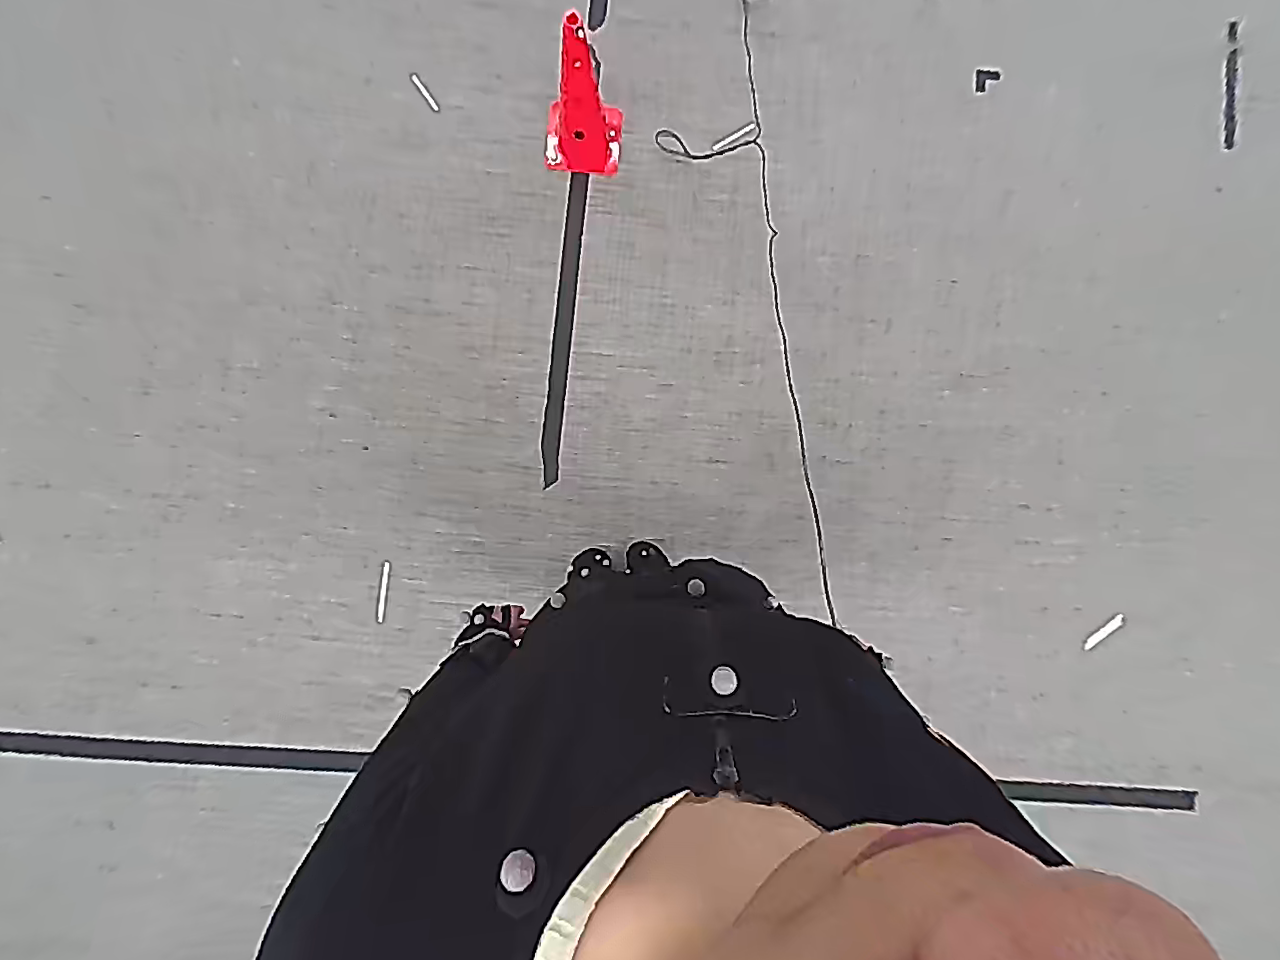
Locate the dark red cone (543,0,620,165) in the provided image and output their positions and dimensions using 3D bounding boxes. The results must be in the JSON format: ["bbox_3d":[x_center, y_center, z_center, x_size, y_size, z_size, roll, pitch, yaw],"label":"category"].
[{"bbox_3d":[-0.147,-0.960,1.289,0.201,0.394,0.202,4,85,-3],"label":"dark red cone"}]
